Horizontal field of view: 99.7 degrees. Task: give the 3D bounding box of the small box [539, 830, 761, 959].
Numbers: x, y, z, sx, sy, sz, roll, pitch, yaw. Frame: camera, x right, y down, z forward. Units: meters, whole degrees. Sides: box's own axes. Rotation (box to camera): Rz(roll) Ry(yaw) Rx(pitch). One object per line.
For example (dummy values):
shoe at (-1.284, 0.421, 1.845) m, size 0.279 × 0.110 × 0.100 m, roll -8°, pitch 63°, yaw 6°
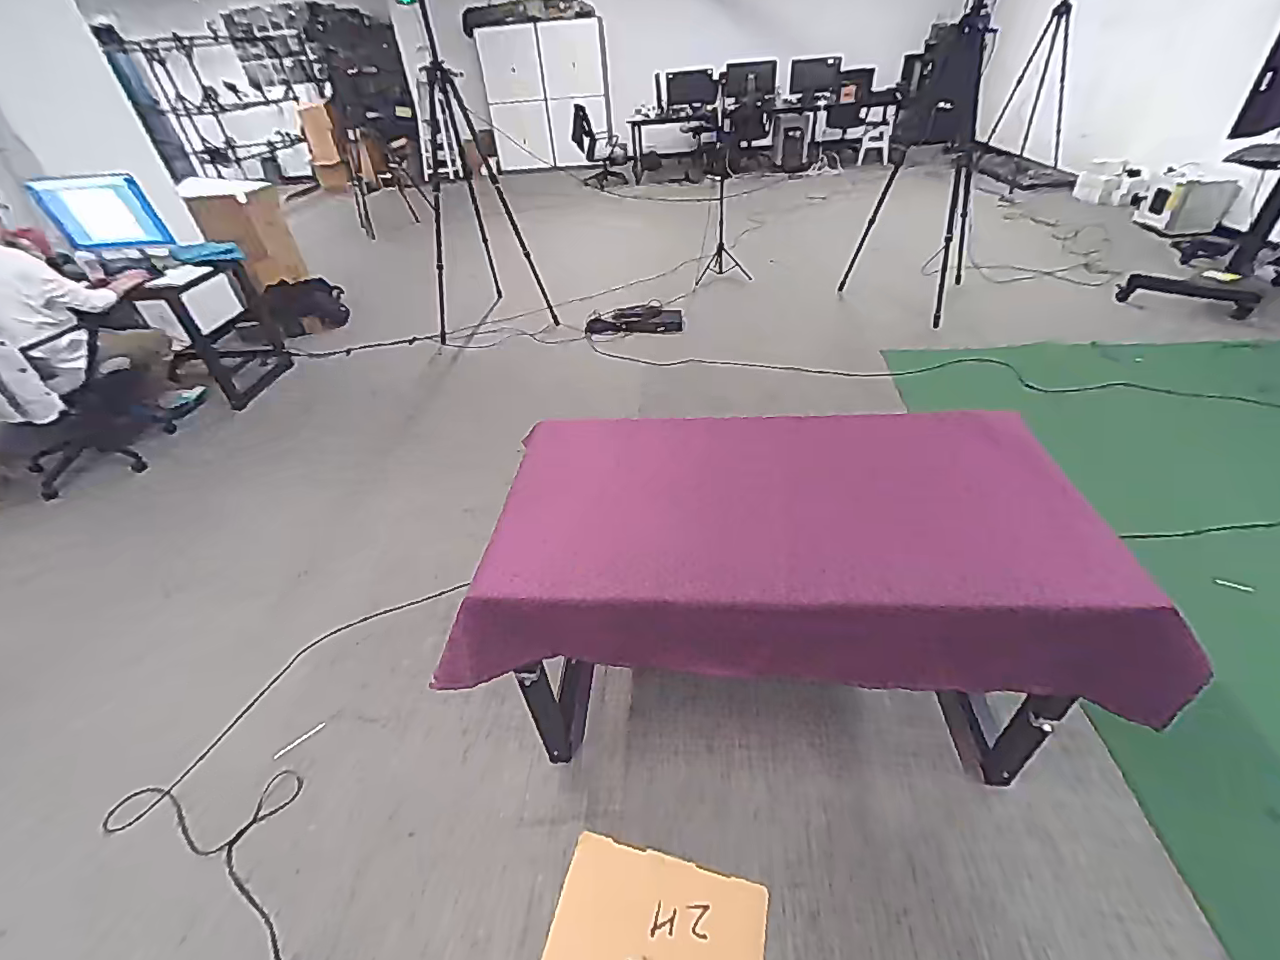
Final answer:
small box at (0.007, 0.446, 0.465) m, size 0.168 × 0.176 × 0.179 m, roll 8°, pitch 44°, yaw 15°
